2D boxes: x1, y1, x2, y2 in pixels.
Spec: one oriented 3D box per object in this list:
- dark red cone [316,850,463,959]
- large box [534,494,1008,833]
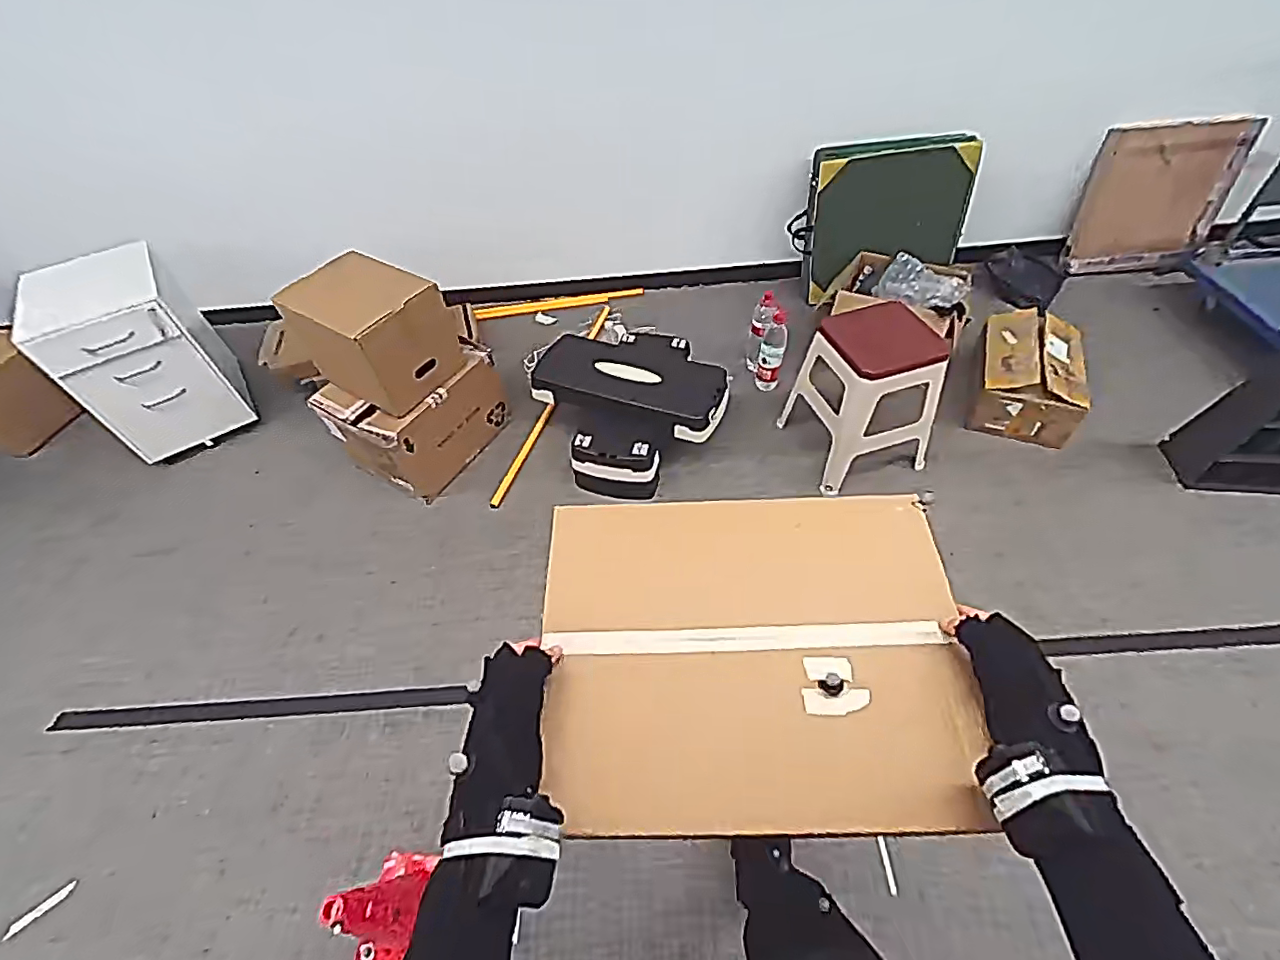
[{"bbox_3d":[-0.494,0.803,1.015,0.201,0.394,0.202,1,51,5],"label":"dark red cone"},{"bbox_3d":[0.109,0.234,0.654,0.408,0.320,0.320,-2,56,2],"label":"large box"}]
